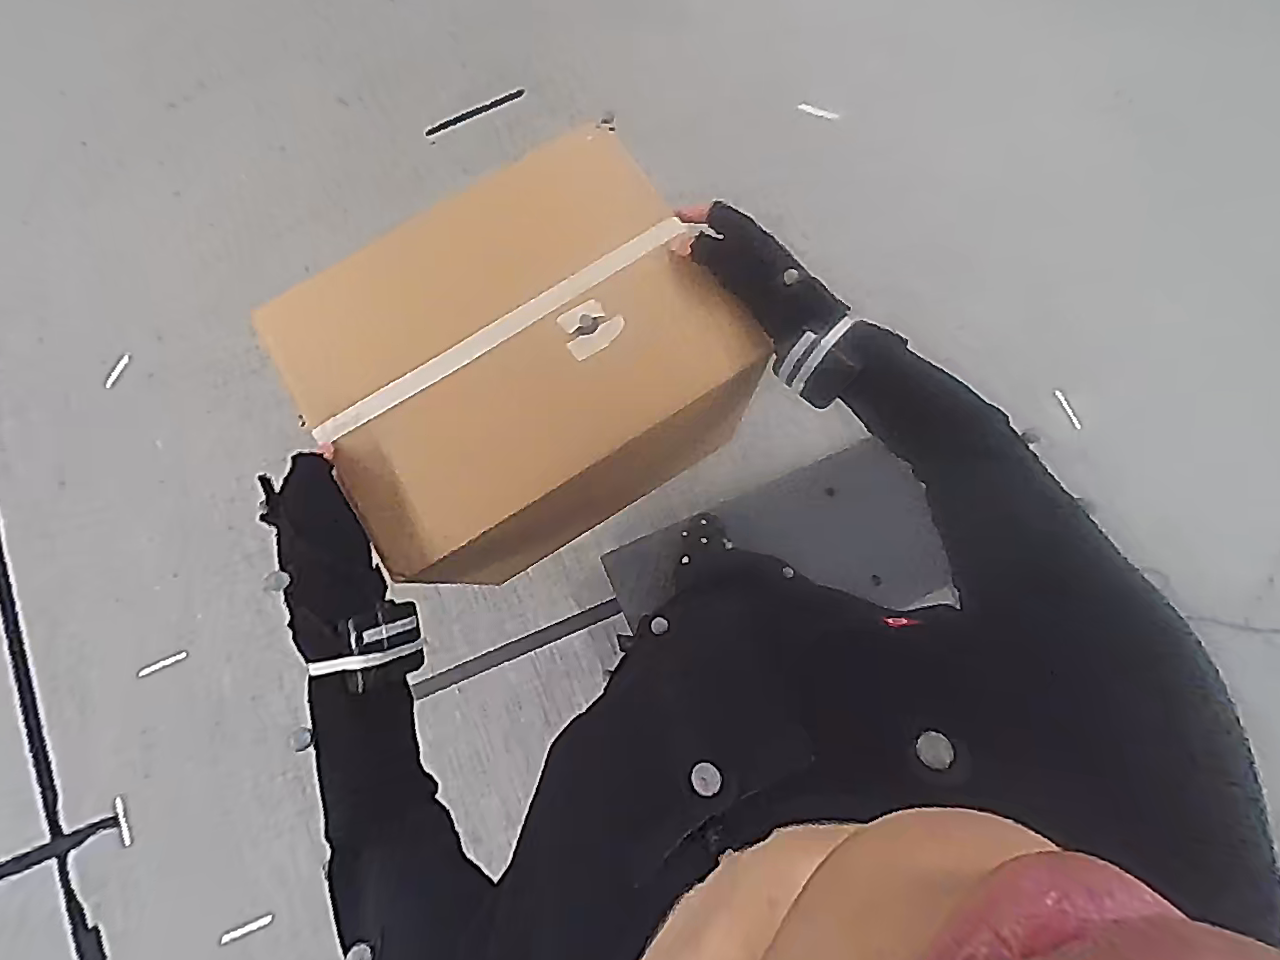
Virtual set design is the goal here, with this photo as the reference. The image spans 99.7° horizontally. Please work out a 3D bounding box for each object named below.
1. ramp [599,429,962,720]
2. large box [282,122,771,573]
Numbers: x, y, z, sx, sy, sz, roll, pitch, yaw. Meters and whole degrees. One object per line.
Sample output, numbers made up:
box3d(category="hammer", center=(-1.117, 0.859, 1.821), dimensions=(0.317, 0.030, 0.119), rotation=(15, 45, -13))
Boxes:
box3d(category="ramp", center=(0.427, 0.231, 1.570), dimensions=(0.991, 0.206, 0.509), rotation=(-26, 79, -3))
box3d(category="large box", center=(-0.113, -0.124, 0.676), dimensions=(0.408, 0.320, 0.320), rotation=(-31, 79, -5))
